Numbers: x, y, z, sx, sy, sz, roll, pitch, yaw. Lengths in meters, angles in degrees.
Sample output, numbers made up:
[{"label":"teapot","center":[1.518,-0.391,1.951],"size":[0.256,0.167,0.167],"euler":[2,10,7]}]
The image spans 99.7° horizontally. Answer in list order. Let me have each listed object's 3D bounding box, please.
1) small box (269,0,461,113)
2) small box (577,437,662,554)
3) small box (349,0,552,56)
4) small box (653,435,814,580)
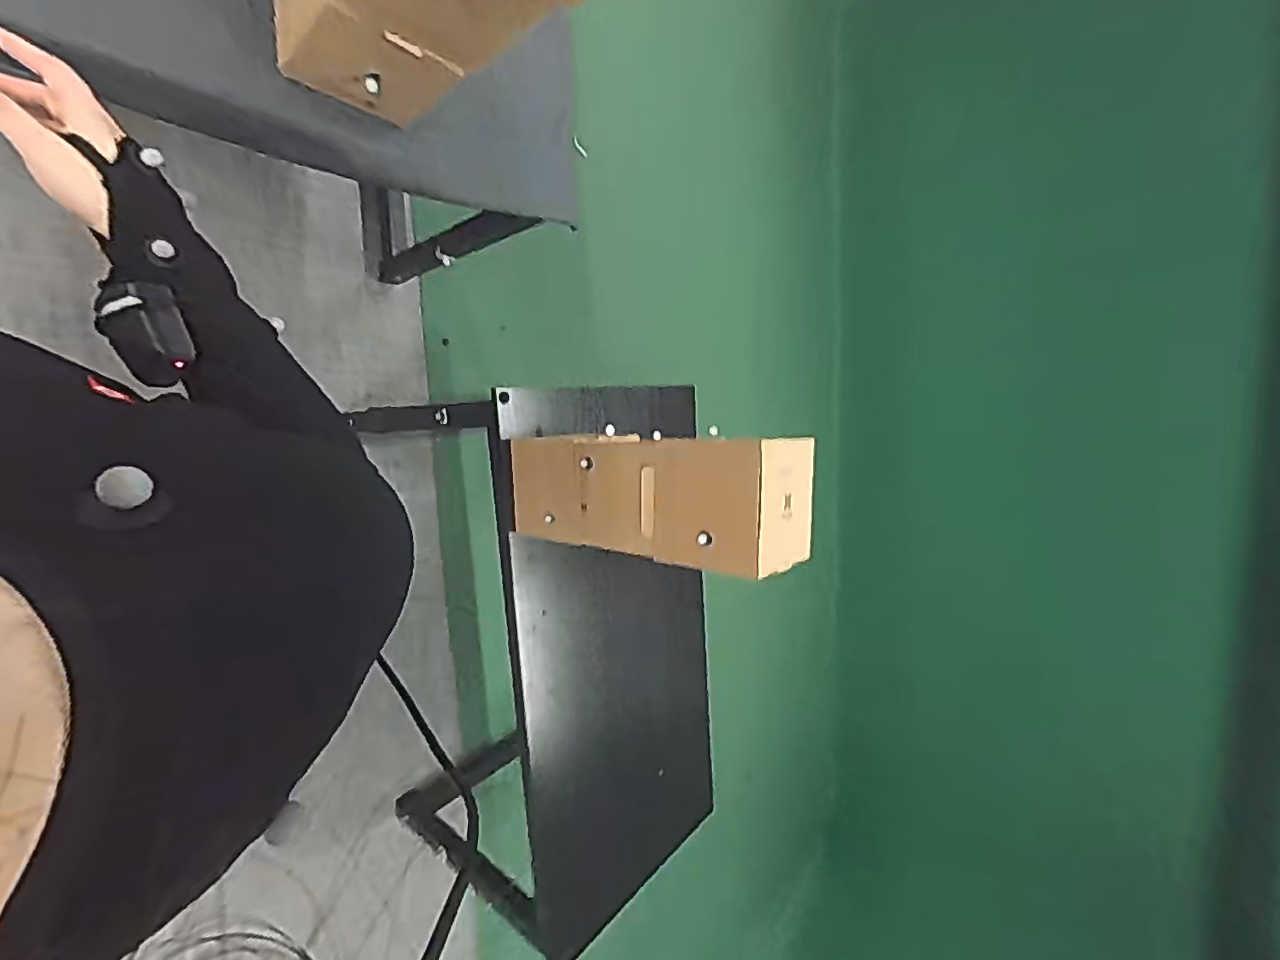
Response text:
[{"label":"small box","center":[-0.341,-0.601,0.669],"size":[0.168,0.176,0.179],"euler":[-6,97,-48]},{"label":"small box","center":[0.012,0.015,0.875],"size":[0.179,0.176,0.168],"euler":[-7,99,-49]},{"label":"small box","center":[-0.212,-0.597,0.569],"size":[0.179,0.176,0.168],"euler":[-9,98,-47]},{"label":"small box","center":[0.129,0.026,0.762],"size":[0.168,0.176,0.179],"euler":[-7,98,-50]}]
